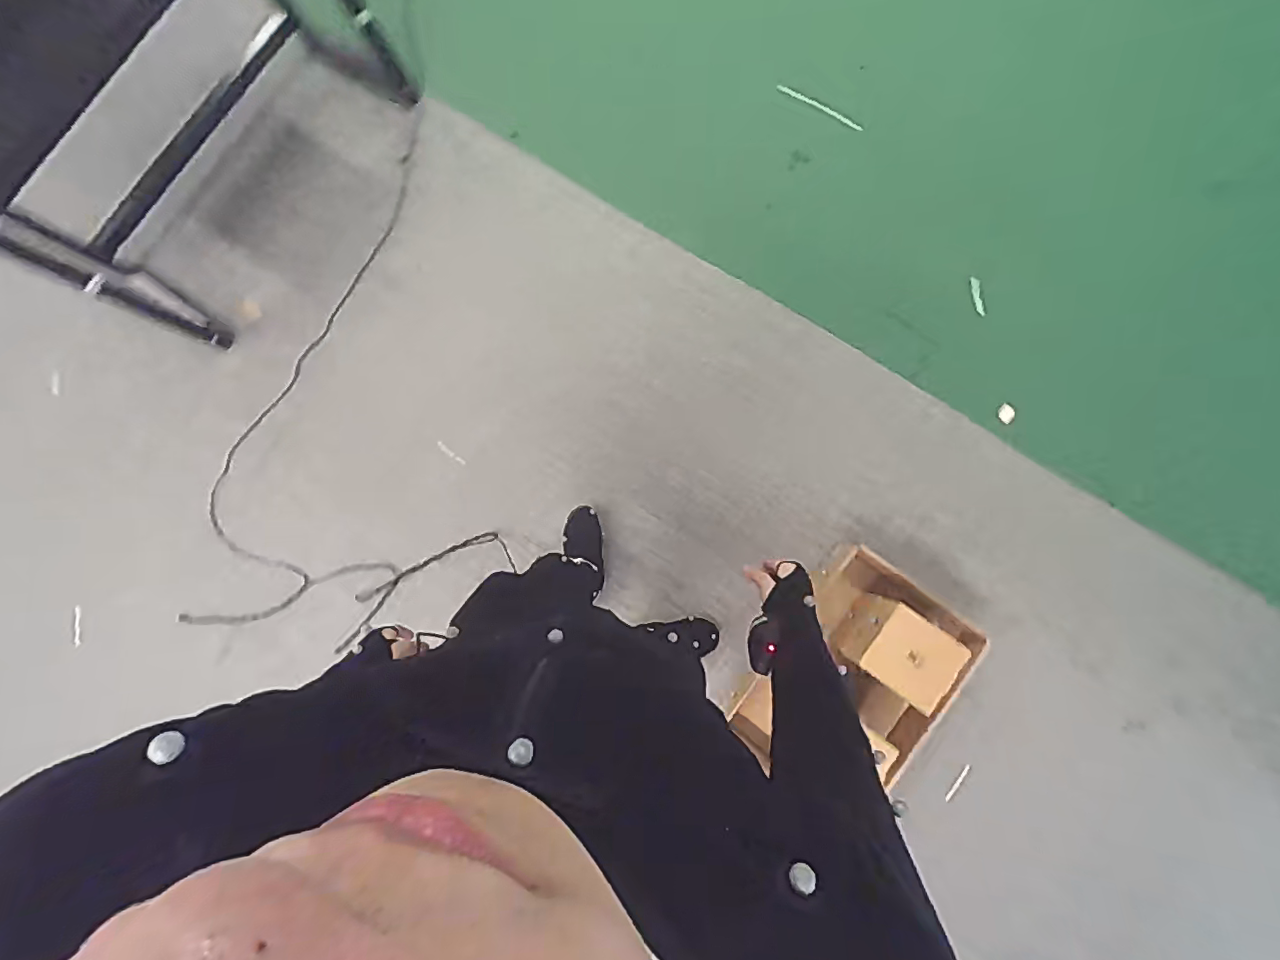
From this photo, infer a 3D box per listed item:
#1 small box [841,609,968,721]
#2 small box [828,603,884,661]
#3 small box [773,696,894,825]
[{"bbox_3d":[0.591,0.411,1.237,0.179,0.176,0.168,36,87,10],"label":"small box"},{"bbox_3d":[0.613,0.433,1.396,0.179,0.176,0.168,37,87,10],"label":"small box"},{"bbox_3d":[0.427,0.619,1.222,0.179,0.176,0.168,37,85,10],"label":"small box"}]
